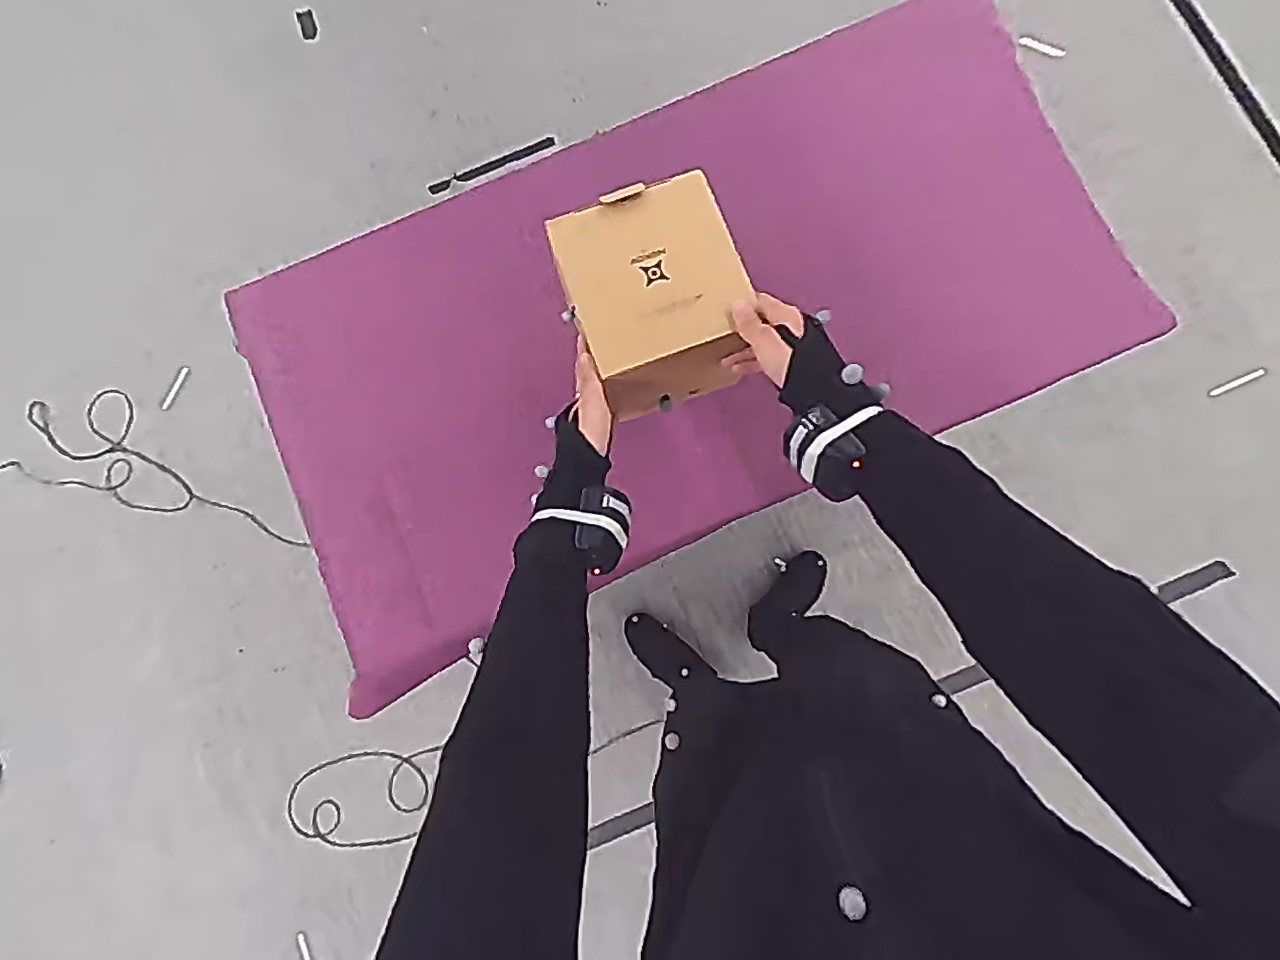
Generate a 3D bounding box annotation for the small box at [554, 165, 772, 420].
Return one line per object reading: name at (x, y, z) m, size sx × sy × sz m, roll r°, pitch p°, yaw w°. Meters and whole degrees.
small box at (0.020, -0.188, 0.587) m, size 0.168 × 0.176 × 0.179 m, roll -19°, pitch 80°, yaw -1°
